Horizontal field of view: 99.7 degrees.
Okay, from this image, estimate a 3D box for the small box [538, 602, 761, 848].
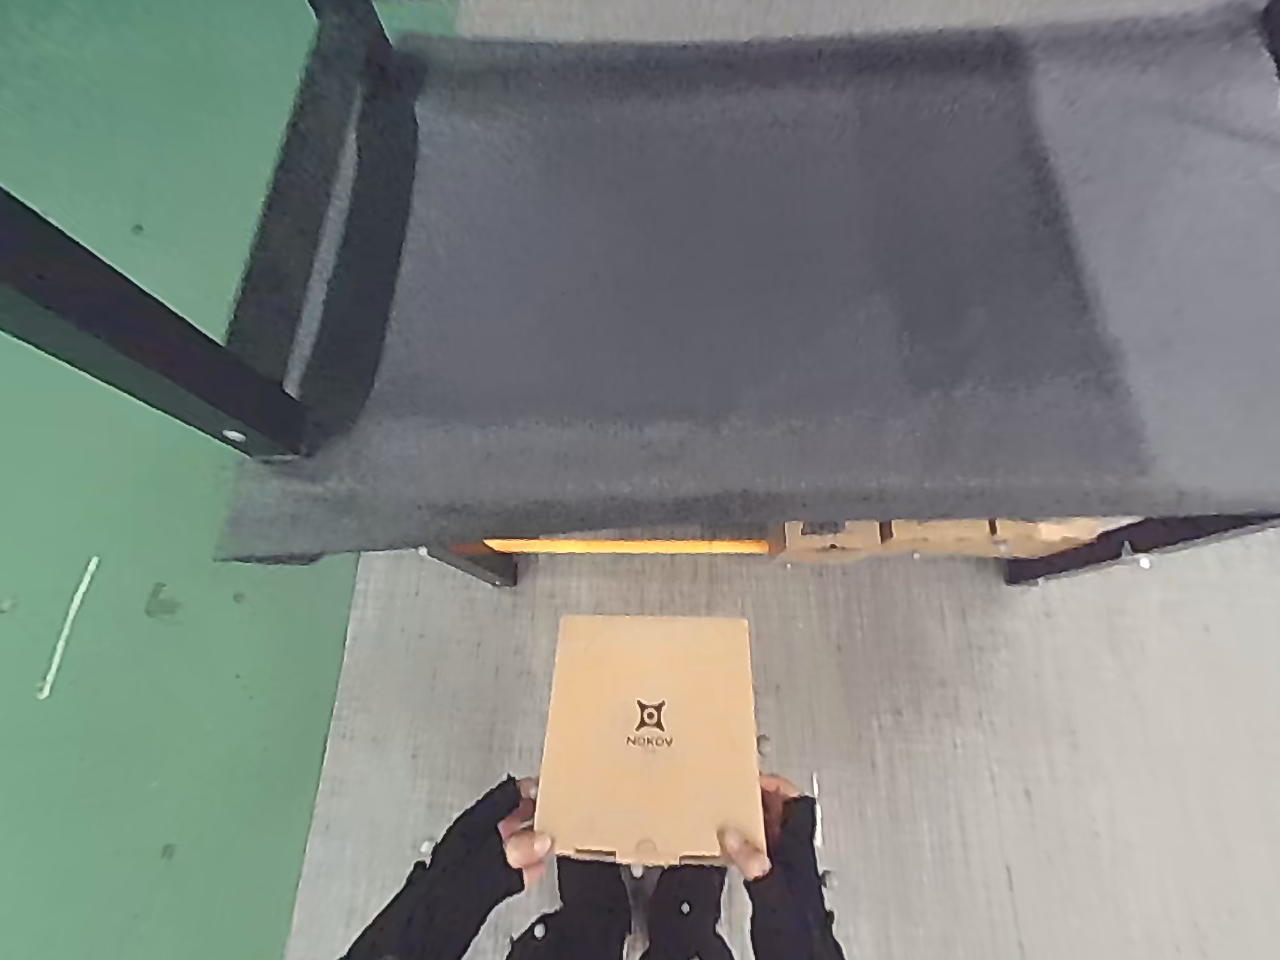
[{"bbox_3d":[0.014,0.229,0.501,0.168,0.176,0.179,0,55,4],"label":"small box"}]
